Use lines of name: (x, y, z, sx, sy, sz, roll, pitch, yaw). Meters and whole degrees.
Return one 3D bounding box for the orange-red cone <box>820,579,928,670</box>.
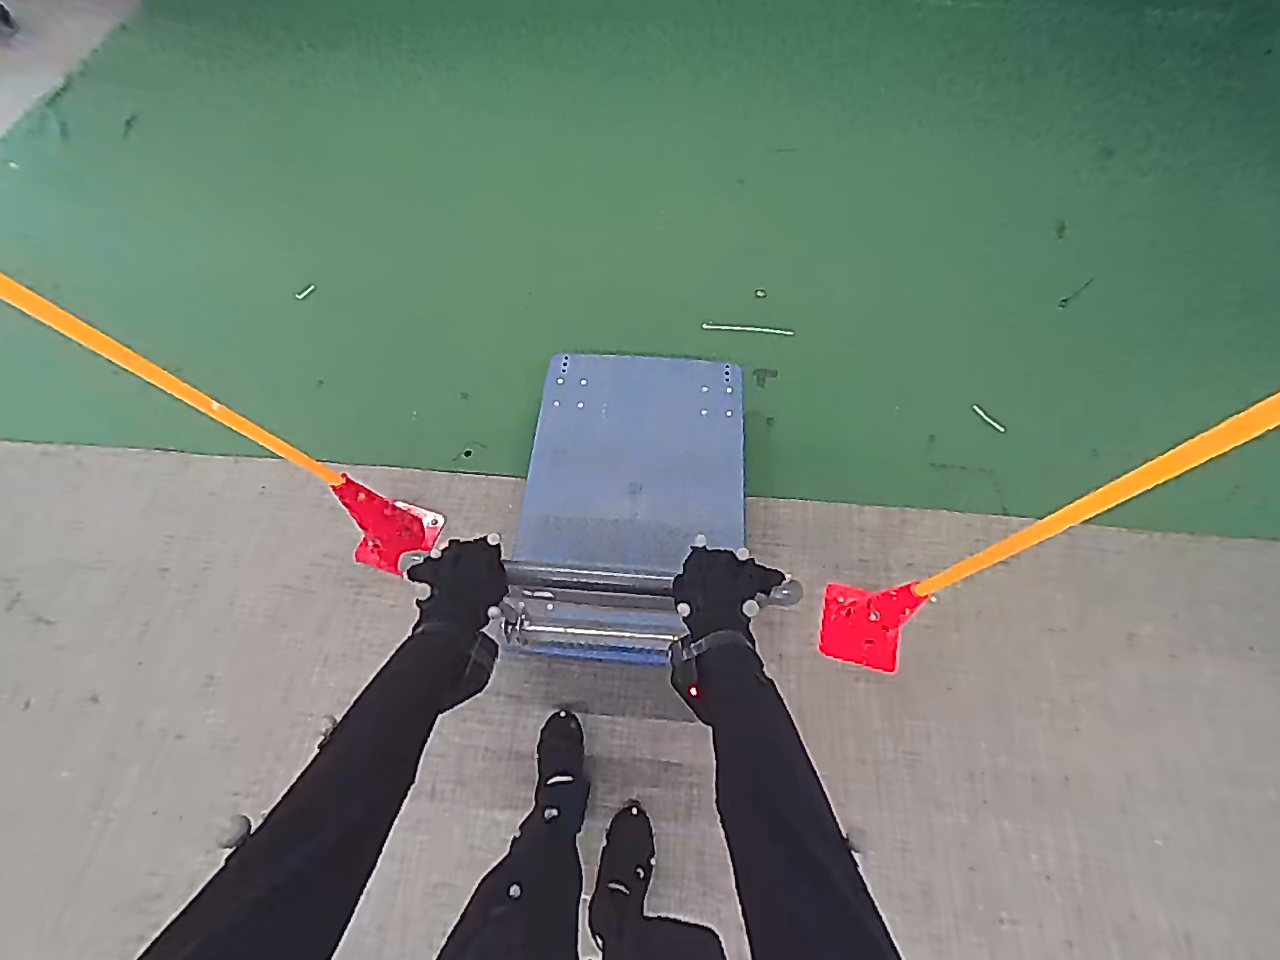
orange-red cone: (0.580, 0.303, 1.270, 0.198, 0.360, 0.199, 14, 64, 8)
